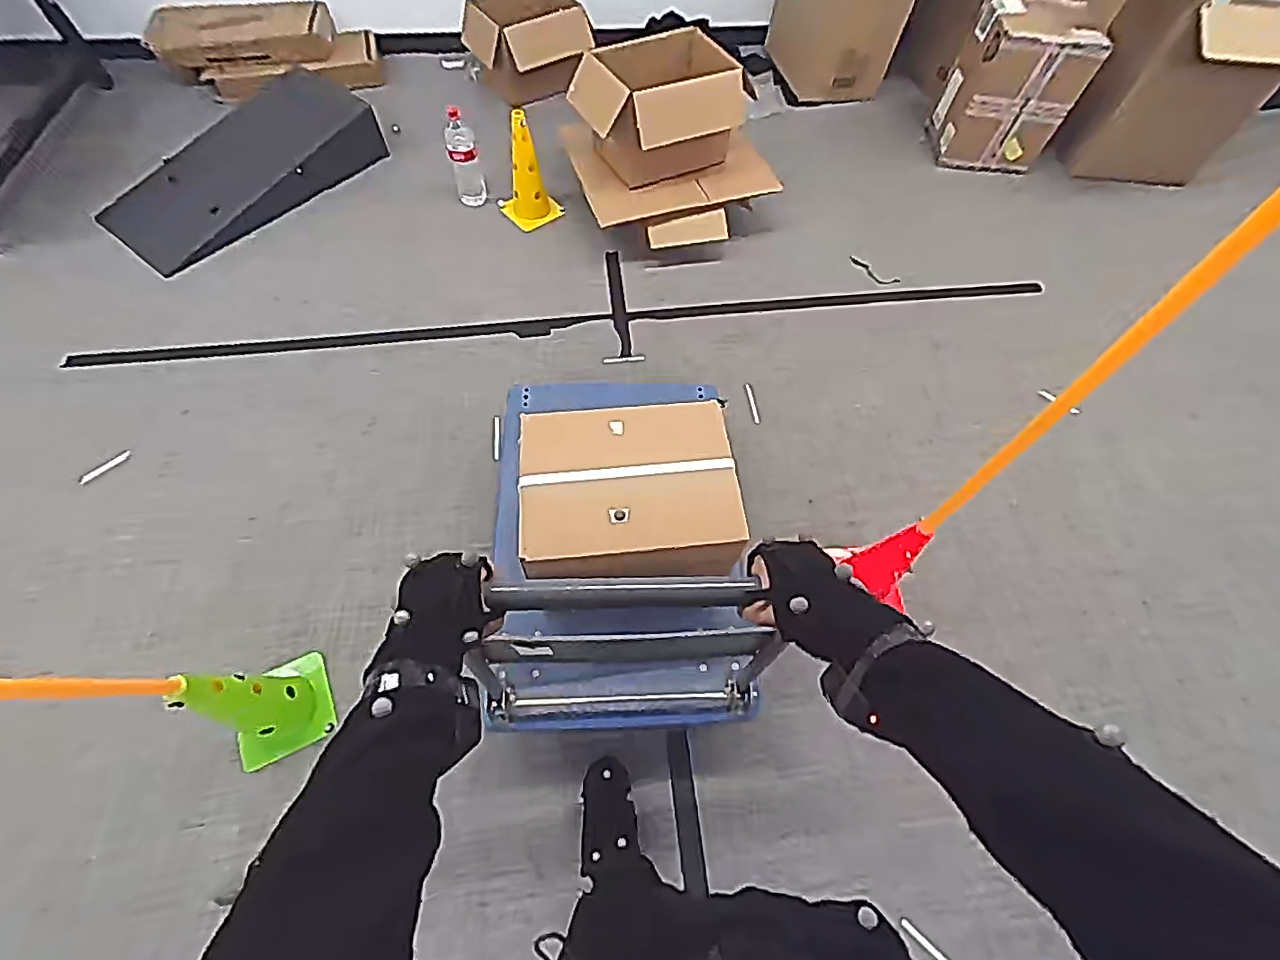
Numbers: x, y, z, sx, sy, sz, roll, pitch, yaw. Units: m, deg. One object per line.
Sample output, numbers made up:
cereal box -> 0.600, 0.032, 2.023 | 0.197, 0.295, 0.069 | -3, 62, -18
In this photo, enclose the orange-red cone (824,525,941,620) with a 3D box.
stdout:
orange-red cone -> 0.601, 0.190, 1.277 | 0.199, 0.360, 0.198 | 1, 62, -3
